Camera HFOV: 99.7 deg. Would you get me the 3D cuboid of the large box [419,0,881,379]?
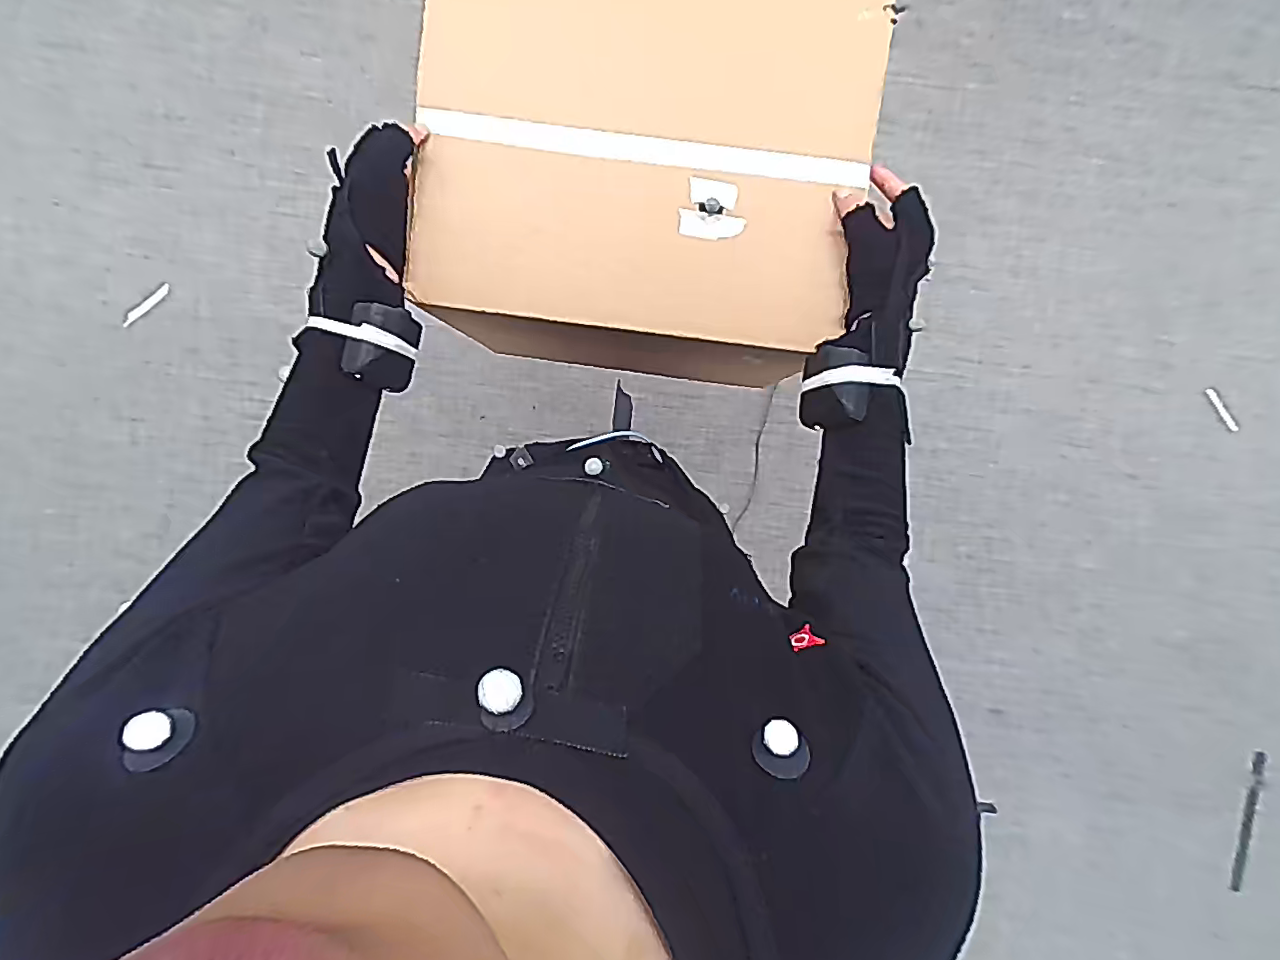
[{"bbox_3d":[0.002,-0.310,0.645,0.408,0.320,0.320,7,96,-1],"label":"large box"}]
